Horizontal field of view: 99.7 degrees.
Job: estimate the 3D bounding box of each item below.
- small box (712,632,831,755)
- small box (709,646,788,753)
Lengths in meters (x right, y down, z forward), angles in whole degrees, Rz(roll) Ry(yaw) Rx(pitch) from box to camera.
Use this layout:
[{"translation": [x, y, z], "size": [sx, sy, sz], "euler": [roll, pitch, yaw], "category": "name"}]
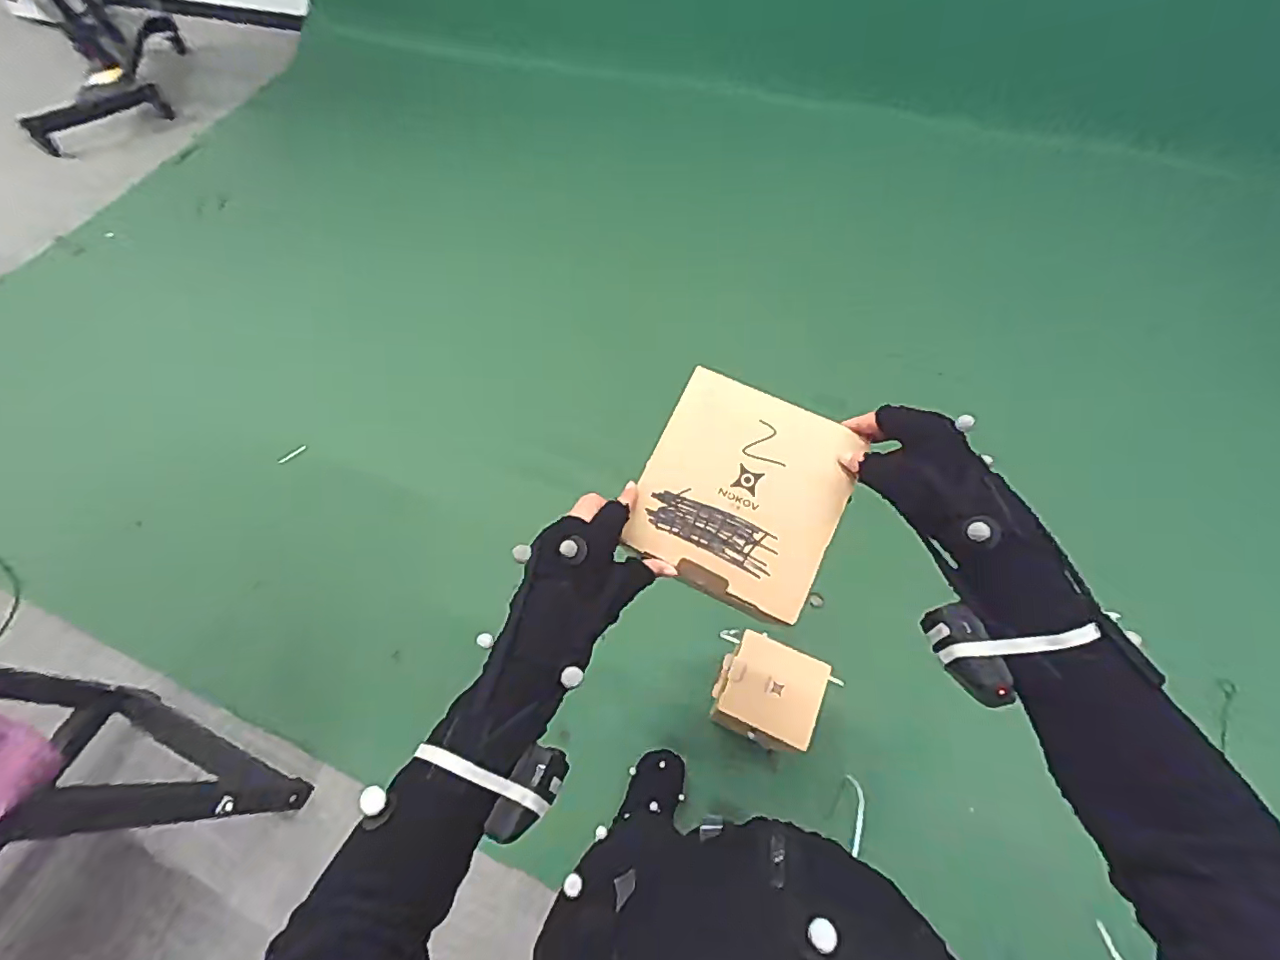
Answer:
[{"translation": [0.259, 0.434, 1.094], "size": [0.179, 0.176, 0.168], "euler": [21, 65, 15], "category": "small box"}, {"translation": [0.270, 0.505, 1.241], "size": [0.179, 0.176, 0.168], "euler": [21, 65, 14], "category": "small box"}]
